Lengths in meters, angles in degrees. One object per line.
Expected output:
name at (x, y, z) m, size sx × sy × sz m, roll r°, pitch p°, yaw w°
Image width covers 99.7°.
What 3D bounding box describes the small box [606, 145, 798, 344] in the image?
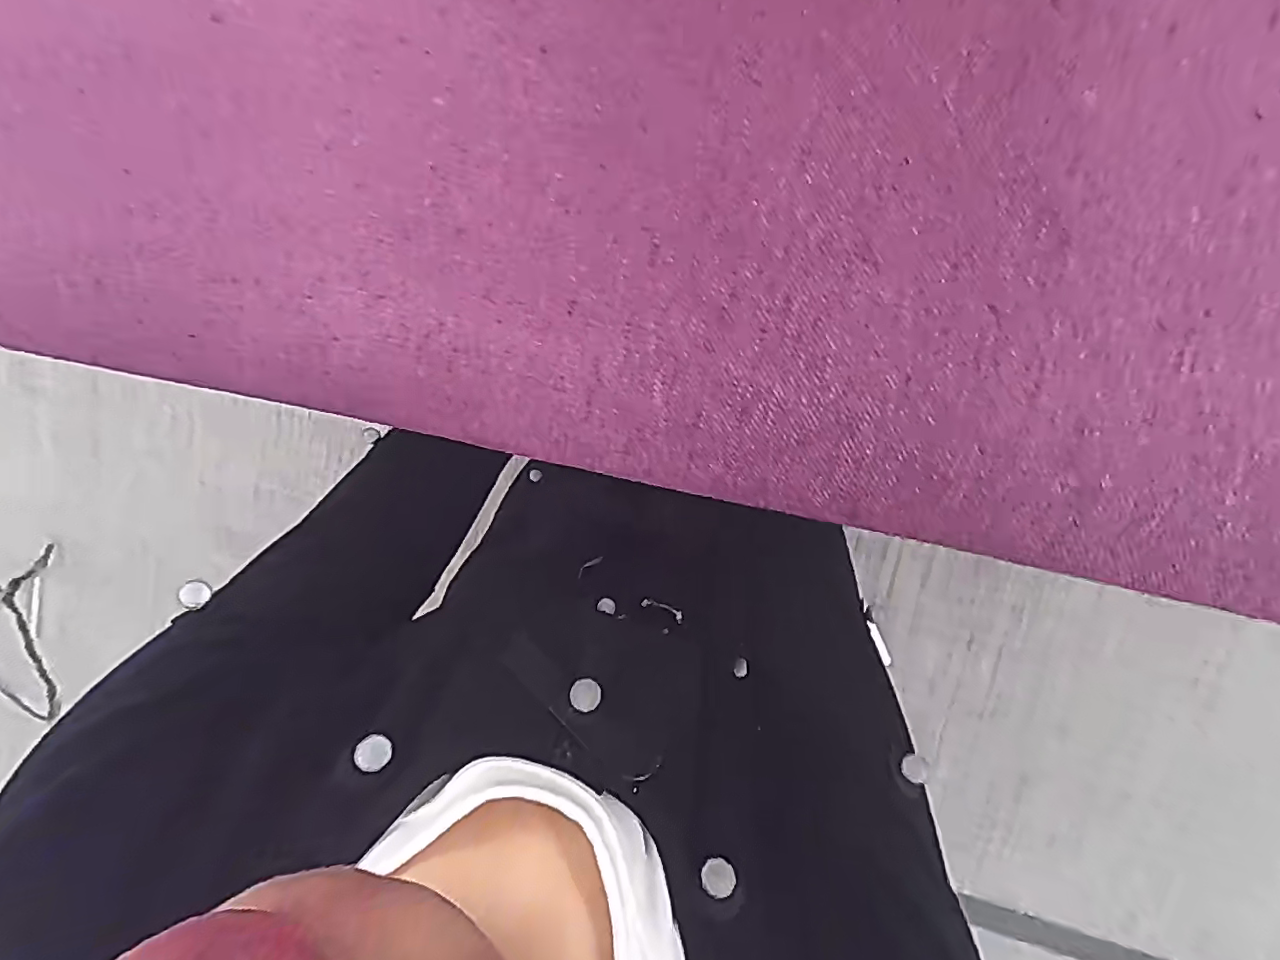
small box at (0.075, -0.270, 0.658) m, size 0.179 × 0.176 × 0.168 m, roll 14°, pitch 99°, yaw 7°
